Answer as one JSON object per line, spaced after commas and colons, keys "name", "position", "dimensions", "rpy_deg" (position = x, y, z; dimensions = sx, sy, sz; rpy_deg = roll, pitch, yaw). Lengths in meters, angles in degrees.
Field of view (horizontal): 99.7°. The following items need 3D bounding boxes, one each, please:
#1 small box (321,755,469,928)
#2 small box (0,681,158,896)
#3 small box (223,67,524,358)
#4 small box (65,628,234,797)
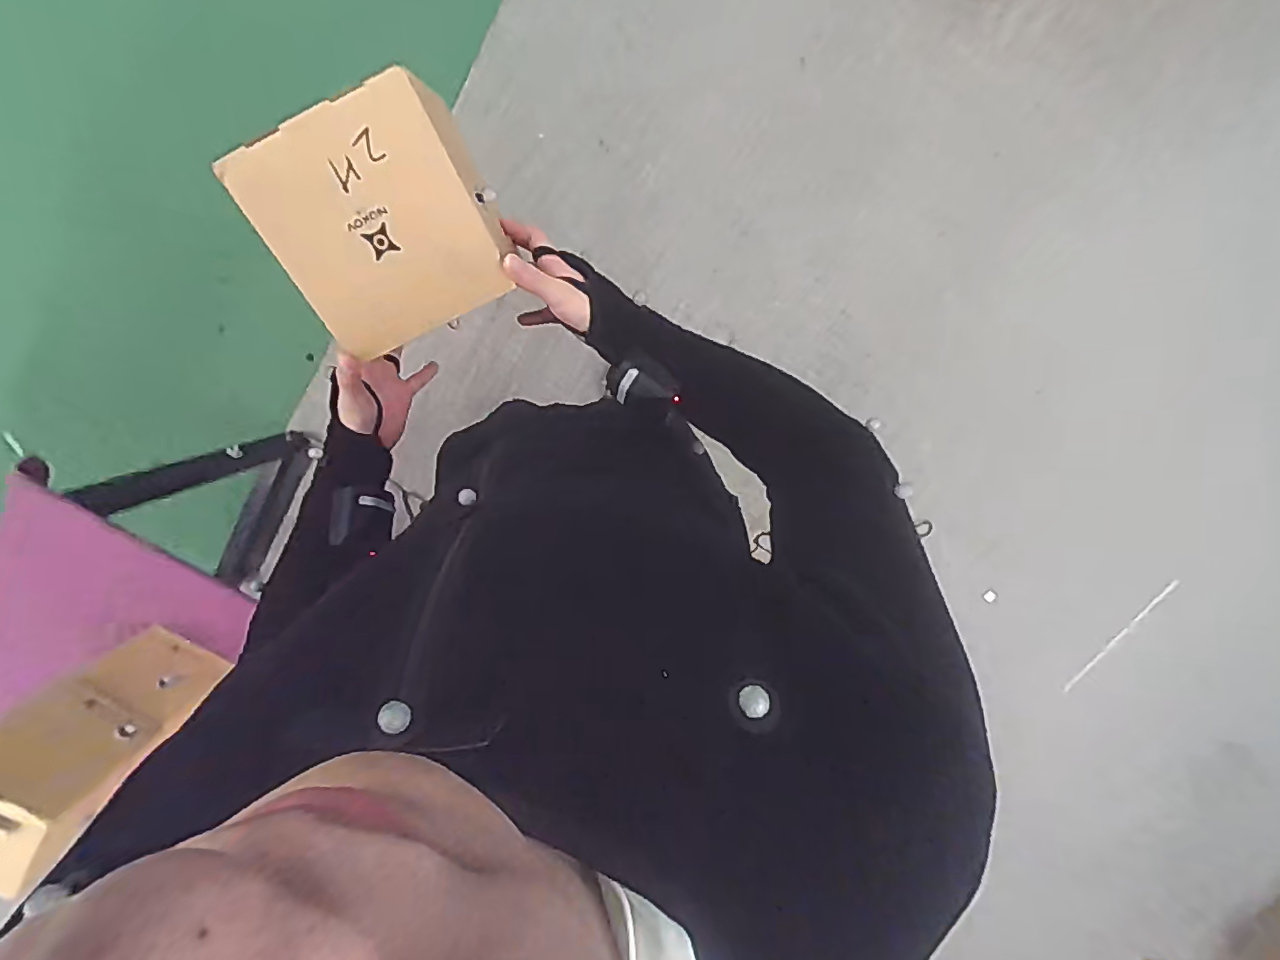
{"name": "small box", "position": [-0.440, 0.657, 0.996], "dimensions": [0.168, 0.176, 0.179], "rpy_deg": [27, 105, -6]}
{"name": "small box", "position": [-0.856, 0.430, 0.776], "dimensions": [0.168, 0.176, 0.179], "rpy_deg": [34, 106, -8]}
{"name": "small box", "position": [-0.222, -0.244, 0.513], "dimensions": [0.168, 0.176, 0.179], "rpy_deg": [-23, 117, 3]}
{"name": "small box", "position": [-0.856, 0.391, 0.937], "dimensions": [0.168, 0.176, 0.179], "rpy_deg": [31, 106, -7]}
